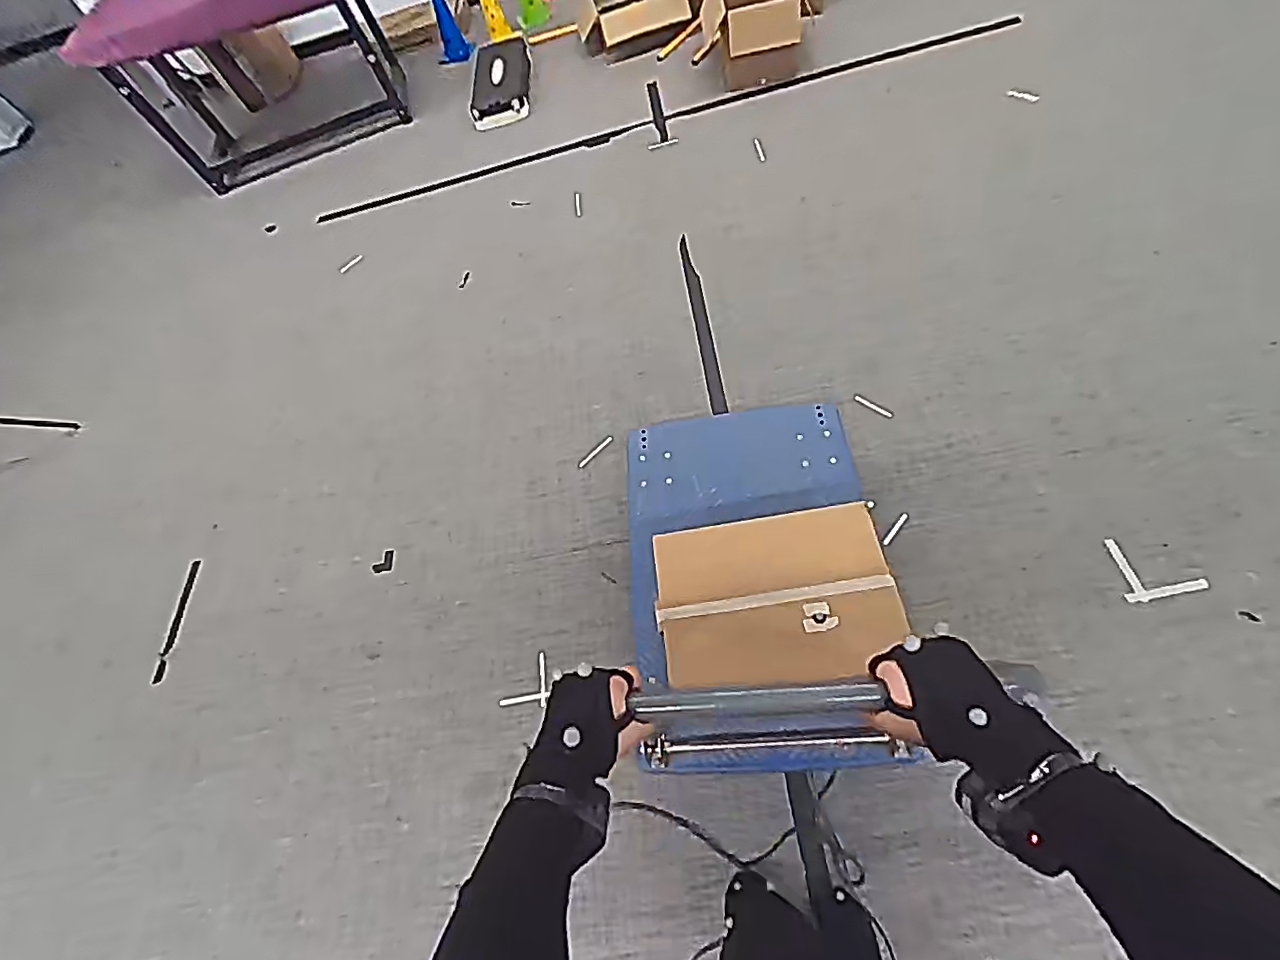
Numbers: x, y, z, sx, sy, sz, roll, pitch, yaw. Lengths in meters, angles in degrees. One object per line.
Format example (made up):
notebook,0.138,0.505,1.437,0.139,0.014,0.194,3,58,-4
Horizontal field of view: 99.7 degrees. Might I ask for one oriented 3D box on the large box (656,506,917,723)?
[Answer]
large box,0.264,0.286,1.090,0.408,0.320,0.320,-10,61,6
